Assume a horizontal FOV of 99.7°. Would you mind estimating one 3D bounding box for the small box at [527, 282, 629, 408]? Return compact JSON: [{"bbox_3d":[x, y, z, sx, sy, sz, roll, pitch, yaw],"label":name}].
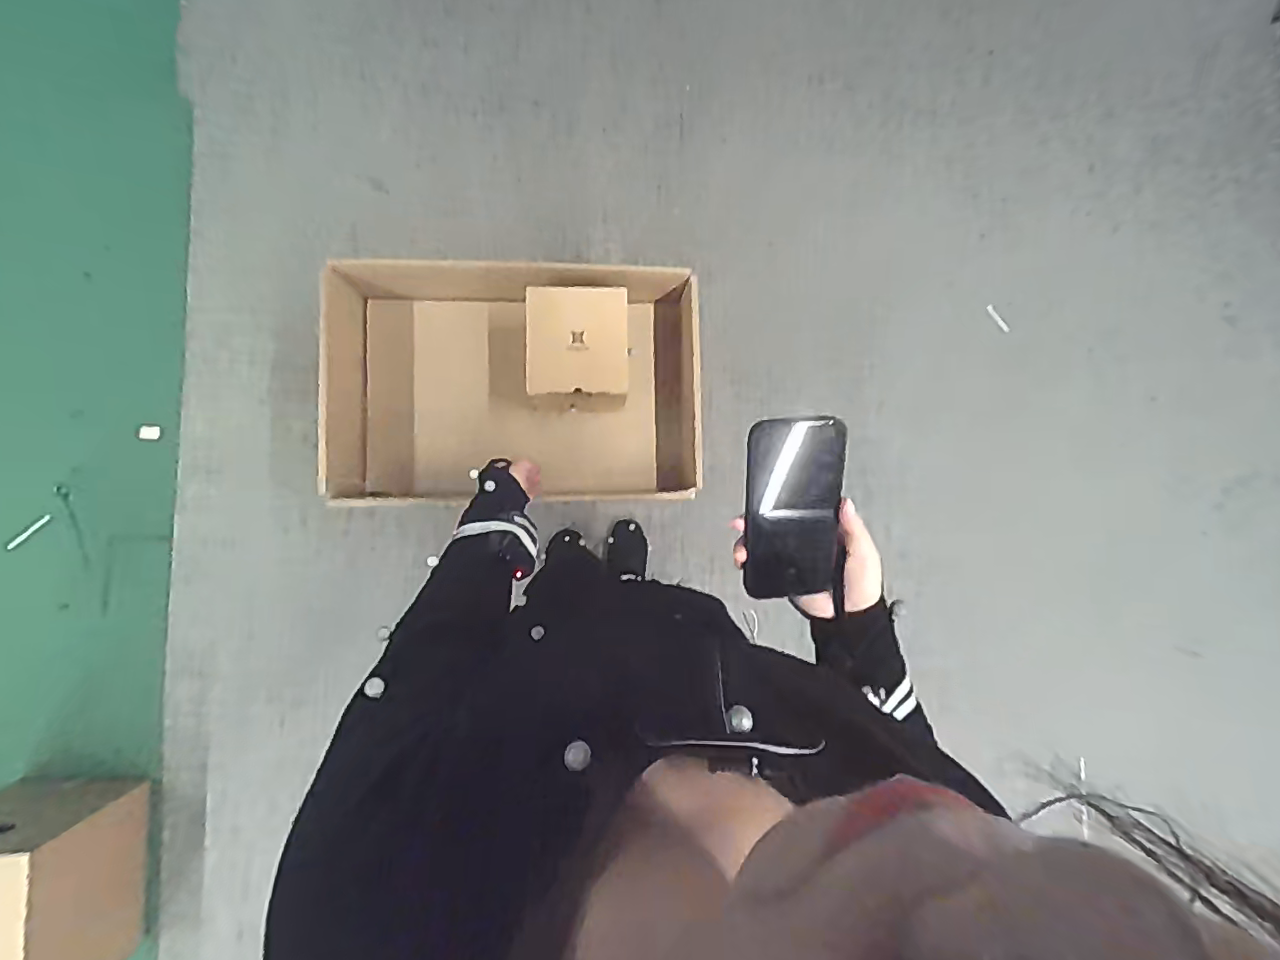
[{"bbox_3d":[-0.106,-0.228,0.948,0.168,0.176,0.179,-1,89,-4],"label":"small box"}]
